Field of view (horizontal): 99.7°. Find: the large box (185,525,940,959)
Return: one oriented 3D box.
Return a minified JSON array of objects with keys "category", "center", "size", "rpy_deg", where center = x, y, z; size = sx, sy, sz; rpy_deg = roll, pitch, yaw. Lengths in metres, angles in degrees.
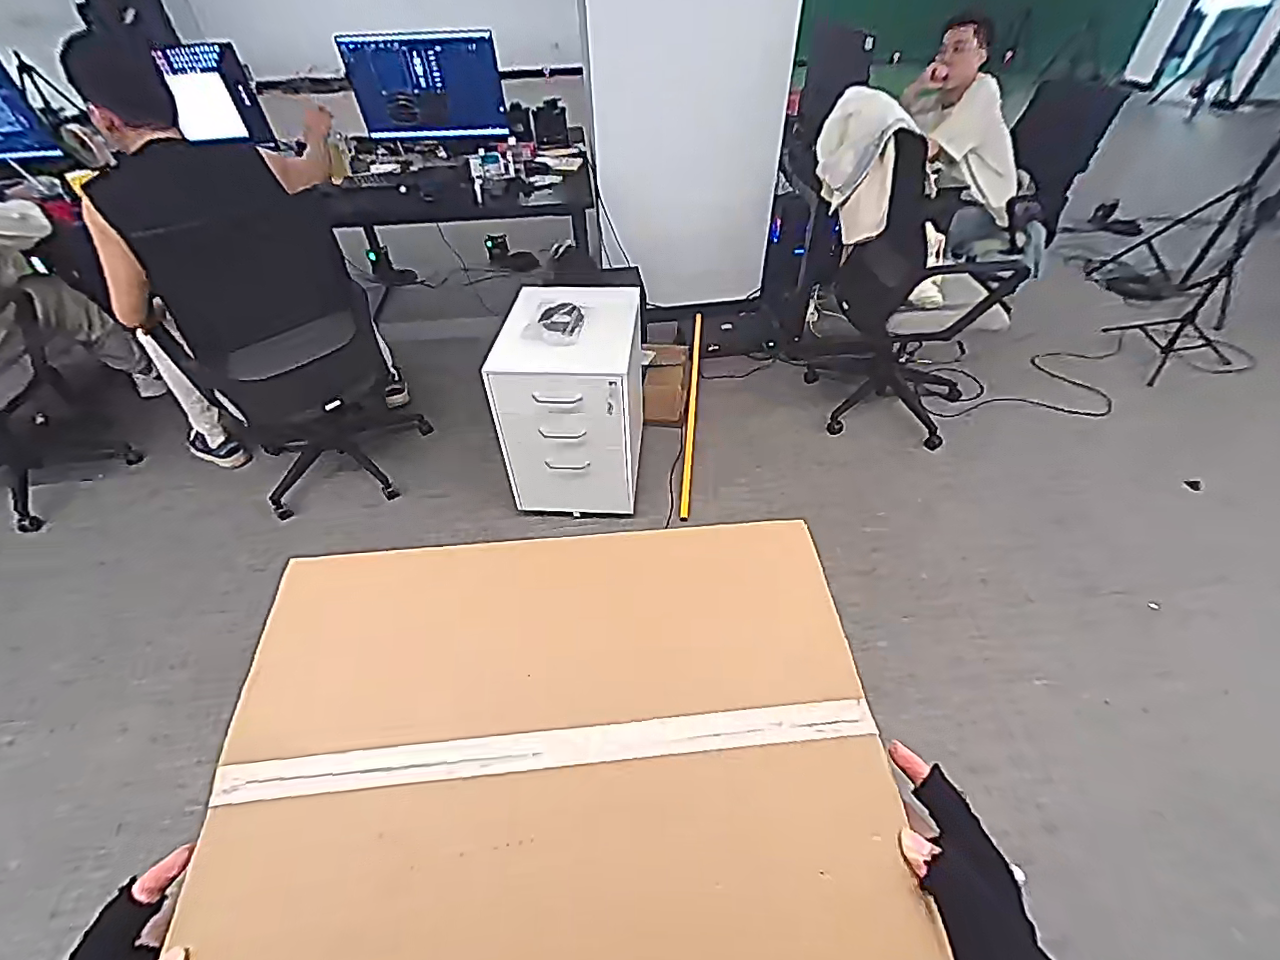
[{"category":"large box","center":[-0.053,0.265,0.467],"size":[0.408,0.320,0.320],"rpy_deg":[-4,53,-4]}]
